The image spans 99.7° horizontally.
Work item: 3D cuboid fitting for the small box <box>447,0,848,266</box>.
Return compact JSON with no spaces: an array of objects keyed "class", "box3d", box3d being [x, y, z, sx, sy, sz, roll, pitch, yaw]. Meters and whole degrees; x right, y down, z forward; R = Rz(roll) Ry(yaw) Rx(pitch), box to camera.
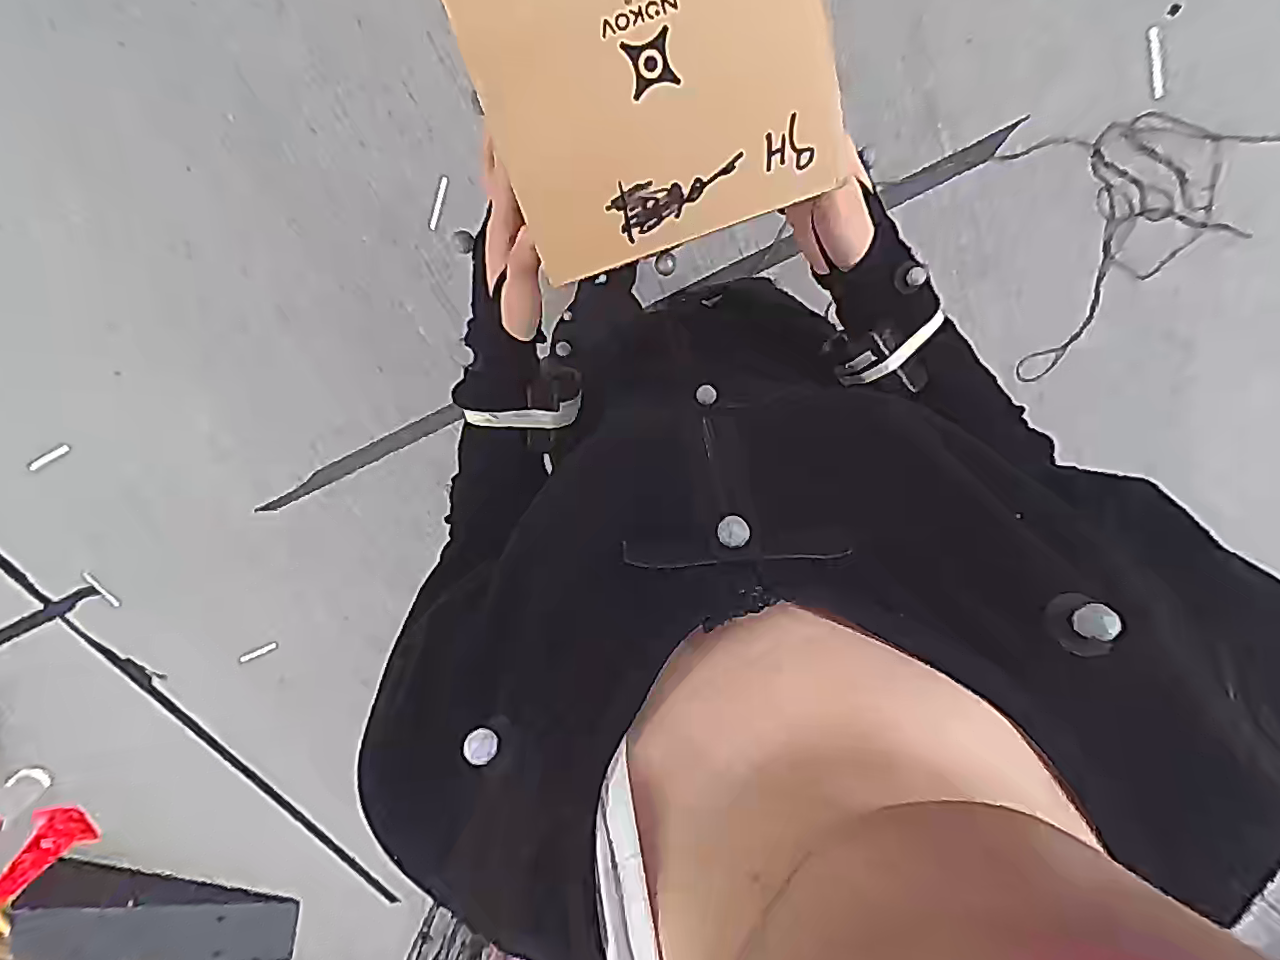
[{"class":"small box","box3d":[-0.003,-0.240,0.313,0.168,0.176,0.179,-17,115,6]}]
